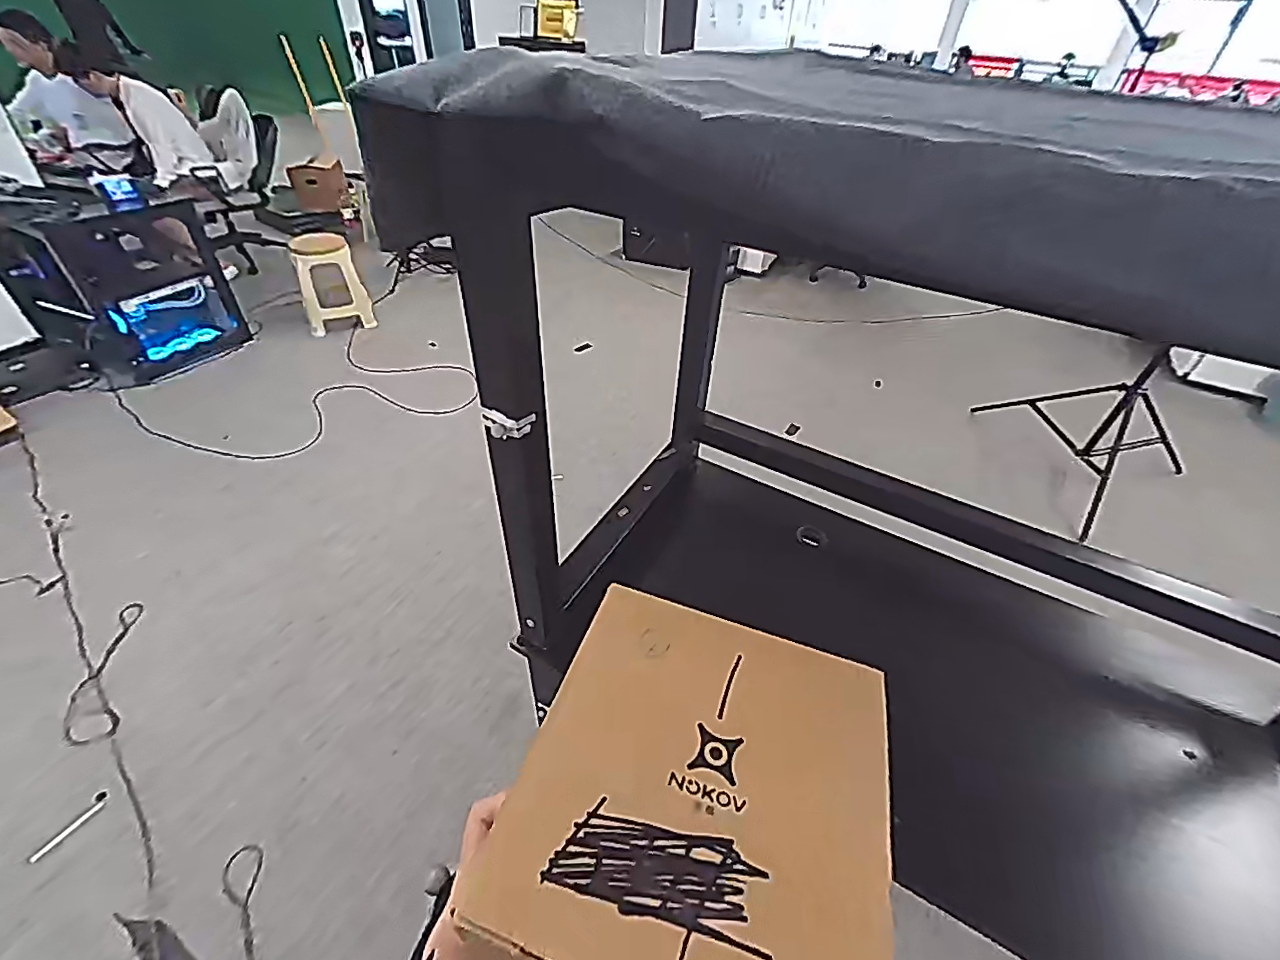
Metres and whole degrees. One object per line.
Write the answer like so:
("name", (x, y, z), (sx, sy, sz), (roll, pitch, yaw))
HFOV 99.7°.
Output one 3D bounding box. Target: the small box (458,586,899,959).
("small box", (0.027, 0.197, 0.300), (0.168, 0.176, 0.179), (16, 39, 11))
